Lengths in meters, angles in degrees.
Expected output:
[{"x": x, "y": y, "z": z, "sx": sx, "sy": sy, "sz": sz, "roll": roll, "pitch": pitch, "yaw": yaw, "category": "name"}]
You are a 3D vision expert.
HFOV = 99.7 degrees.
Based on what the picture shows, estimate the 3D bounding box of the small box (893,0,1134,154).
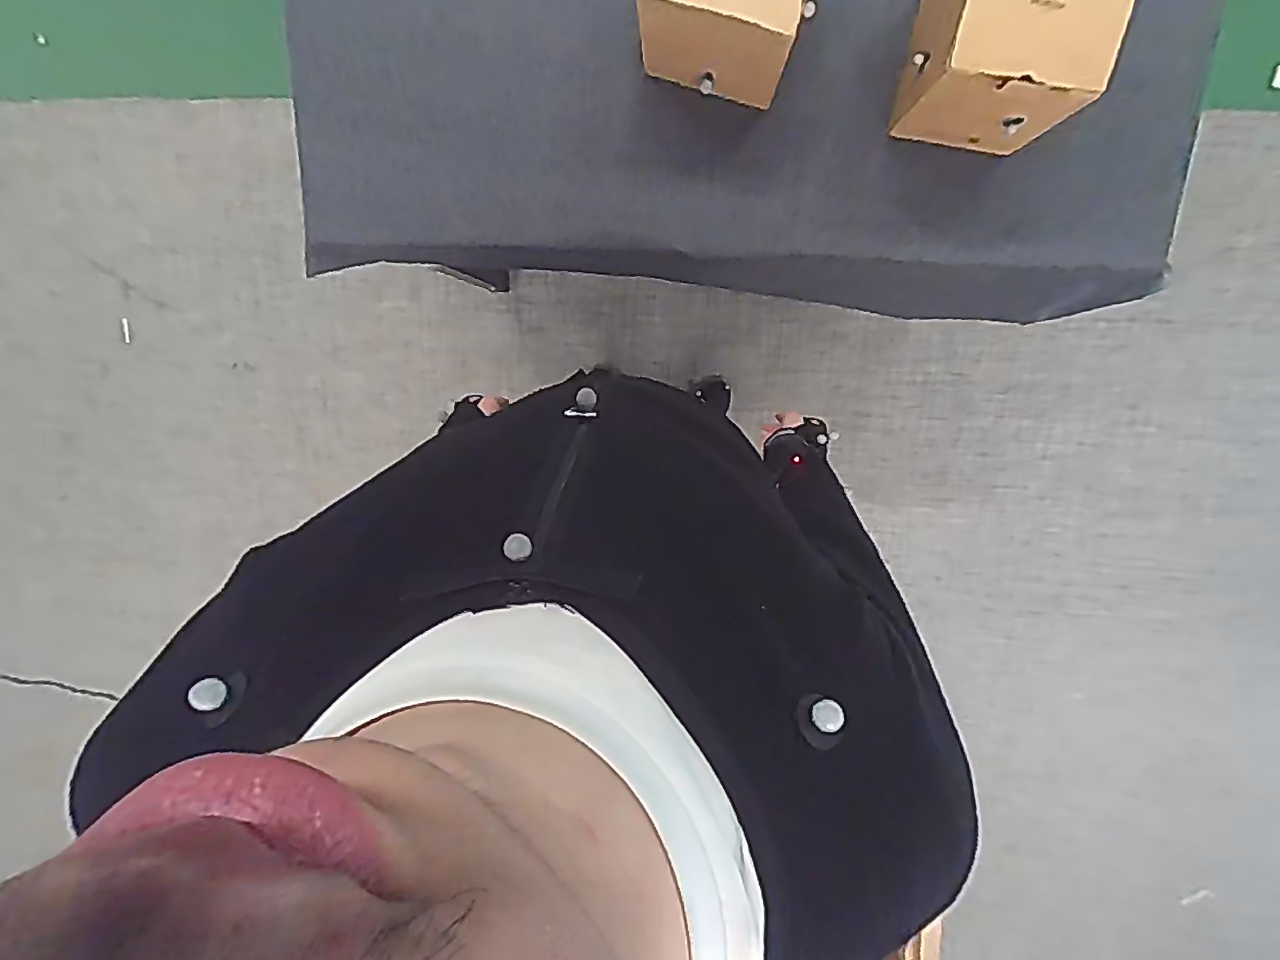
[{"x": 0.418, "y": -0.508, "z": 0.622, "sx": 0.168, "sy": 0.176, "sz": 0.179, "roll": 11, "pitch": 101, "yaw": 0, "category": "small box"}]

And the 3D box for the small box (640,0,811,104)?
[{"x": 0.108, "y": -0.577, "z": 0.626, "sx": 0.179, "sy": 0.176, "sz": 0.168, "roll": 17, "pitch": 101, "yaw": -1, "category": "small box"}]
